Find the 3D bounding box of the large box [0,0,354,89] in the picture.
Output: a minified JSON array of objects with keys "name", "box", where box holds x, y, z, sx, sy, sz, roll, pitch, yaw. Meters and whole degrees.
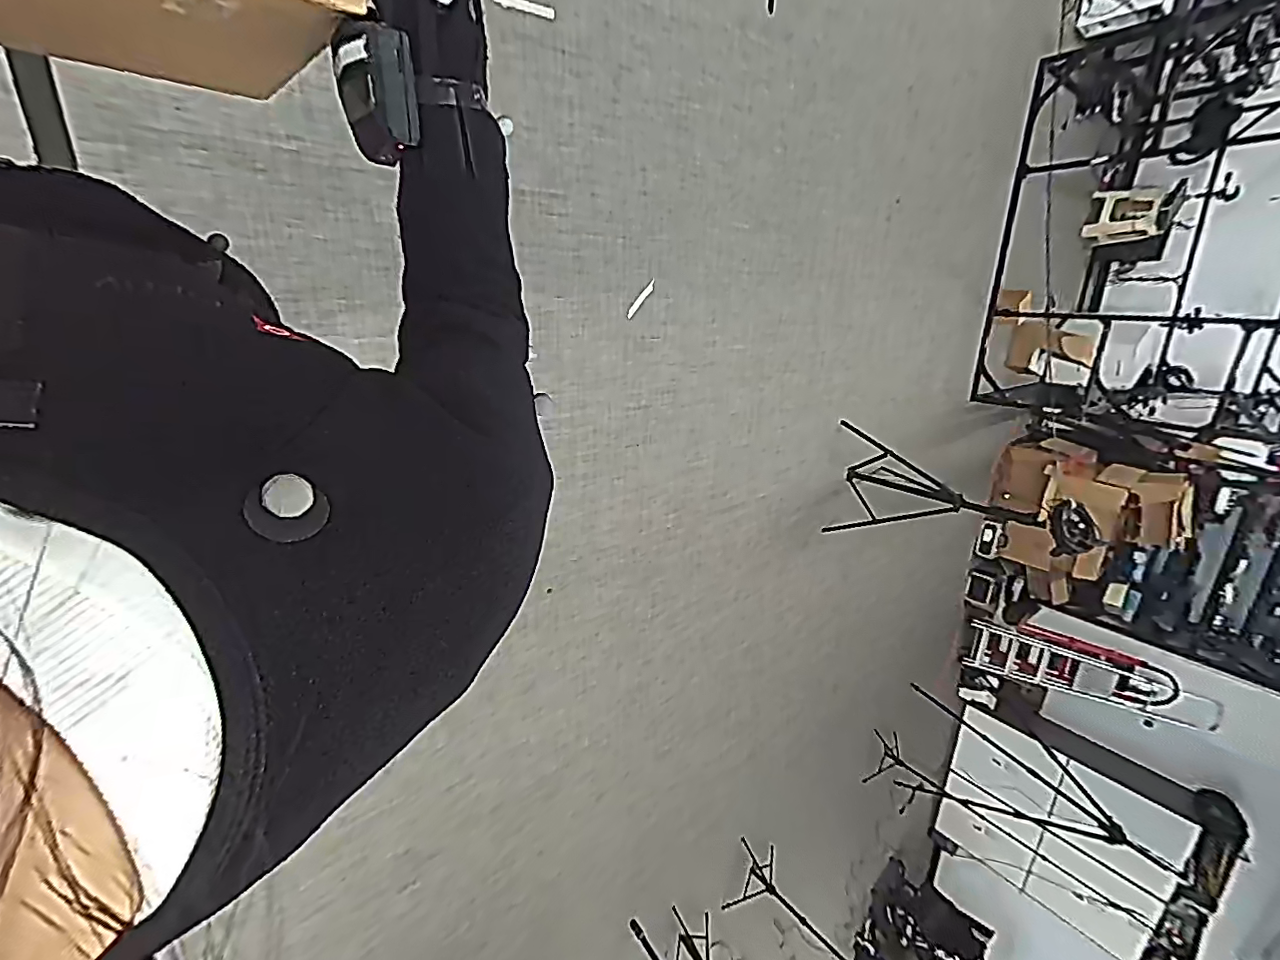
[{"name":"large box","box":[-0.403,-0.420,0.235,0.408,0.320,0.320,-16,120,-39]}]
